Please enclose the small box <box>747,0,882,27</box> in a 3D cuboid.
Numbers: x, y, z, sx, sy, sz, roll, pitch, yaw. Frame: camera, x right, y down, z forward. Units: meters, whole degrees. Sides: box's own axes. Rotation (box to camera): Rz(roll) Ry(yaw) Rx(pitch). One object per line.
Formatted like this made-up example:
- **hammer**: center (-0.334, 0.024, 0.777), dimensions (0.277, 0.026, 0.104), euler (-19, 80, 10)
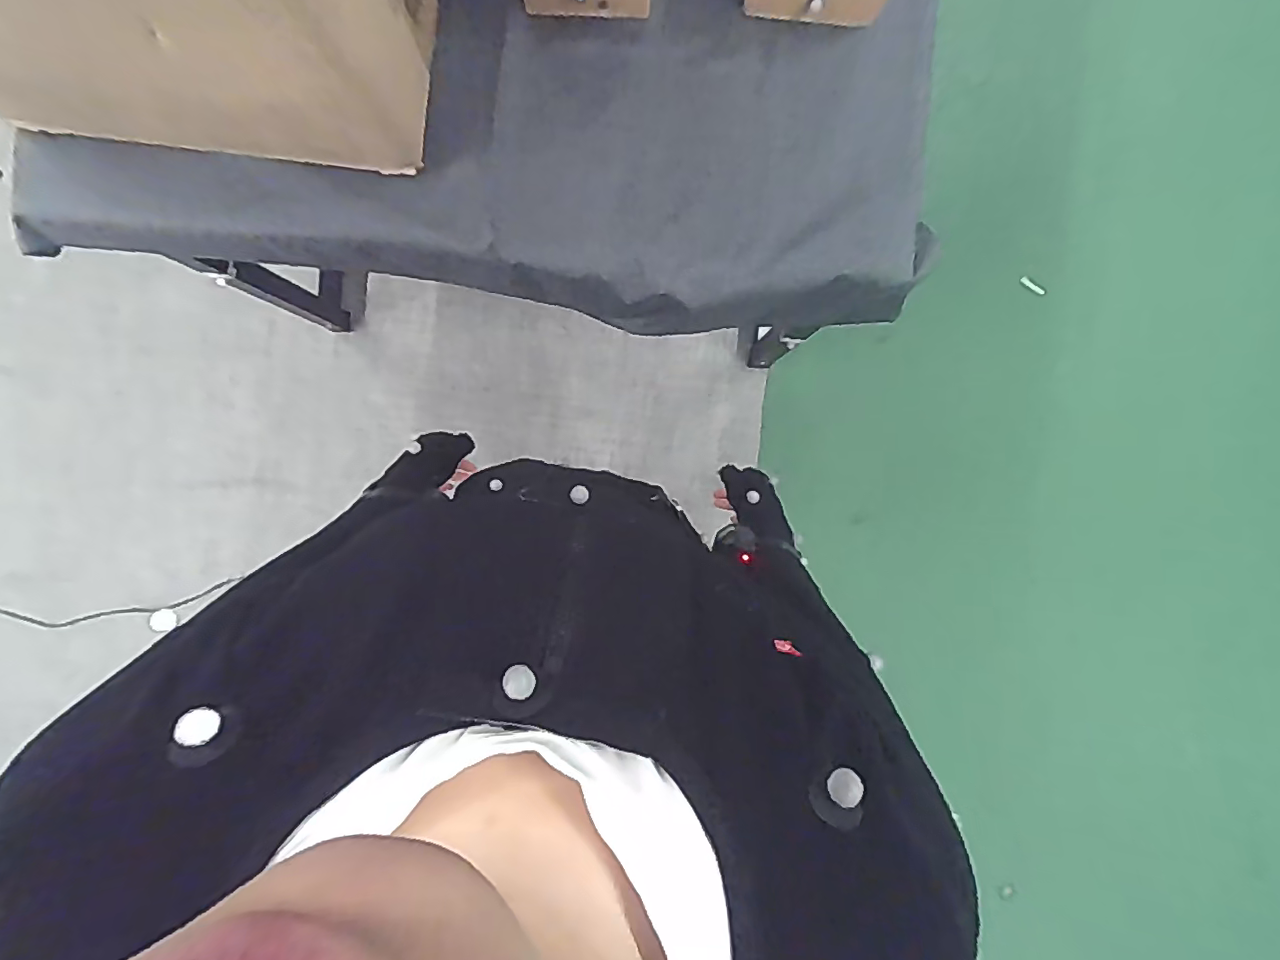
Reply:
- **small box**: center (0.240, -0.698, 0.652), dimensions (0.179, 0.176, 0.168), euler (5, 91, -1)
